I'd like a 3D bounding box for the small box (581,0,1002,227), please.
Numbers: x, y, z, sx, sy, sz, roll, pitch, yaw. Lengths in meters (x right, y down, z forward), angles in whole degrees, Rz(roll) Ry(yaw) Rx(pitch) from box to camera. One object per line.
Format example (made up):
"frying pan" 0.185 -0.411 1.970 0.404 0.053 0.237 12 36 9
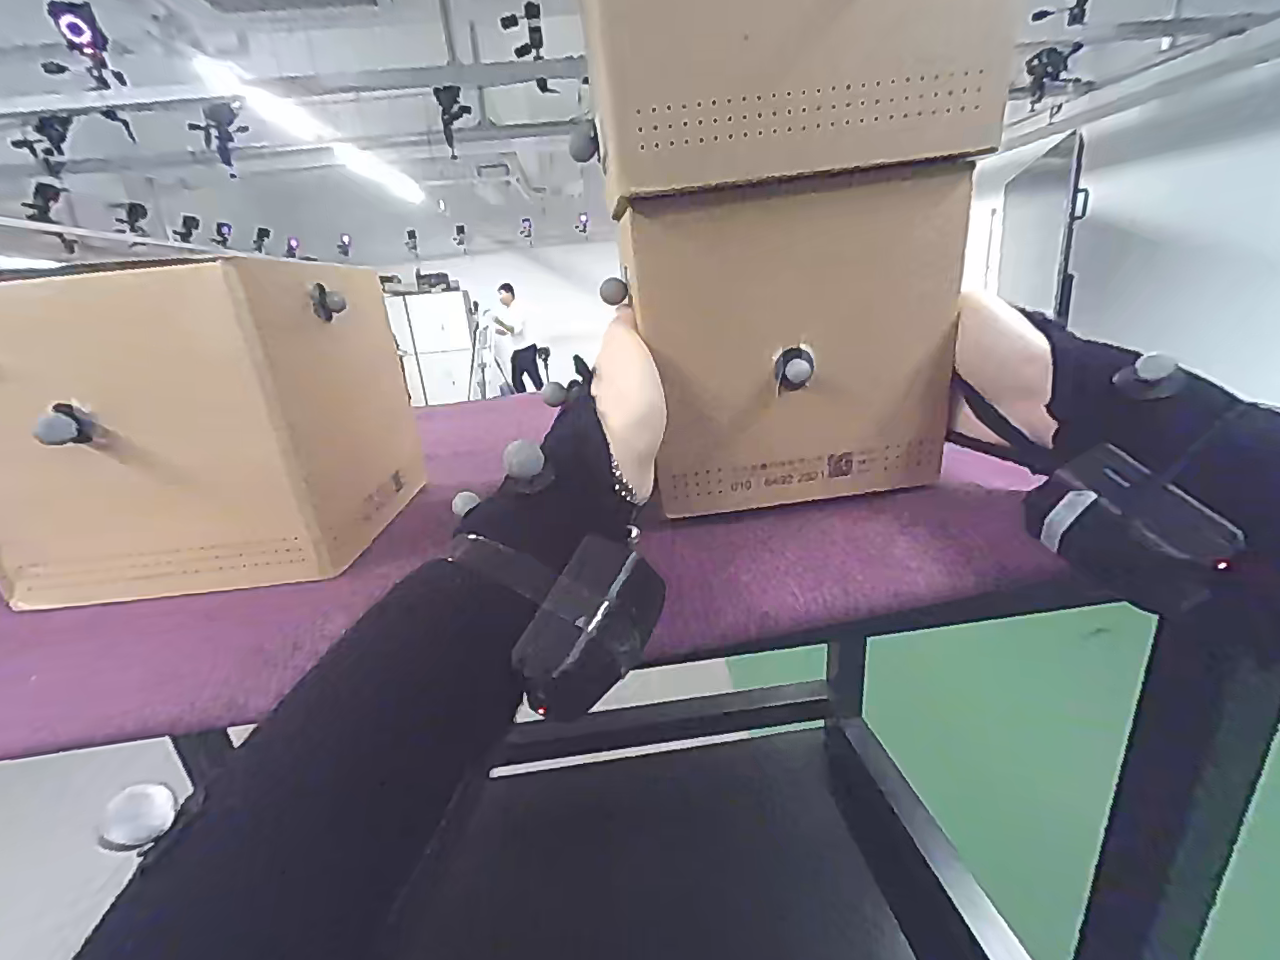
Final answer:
"small box" 0.061 -0.234 0.284 0.179 0.176 0.168 -9 21 -2

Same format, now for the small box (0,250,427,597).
"small box" -0.261 -0.040 0.343 0.179 0.176 0.168 -6 20 -1

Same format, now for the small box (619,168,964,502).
"small box" 0.078 -0.091 0.360 0.168 0.176 0.179 -7 22 -1
